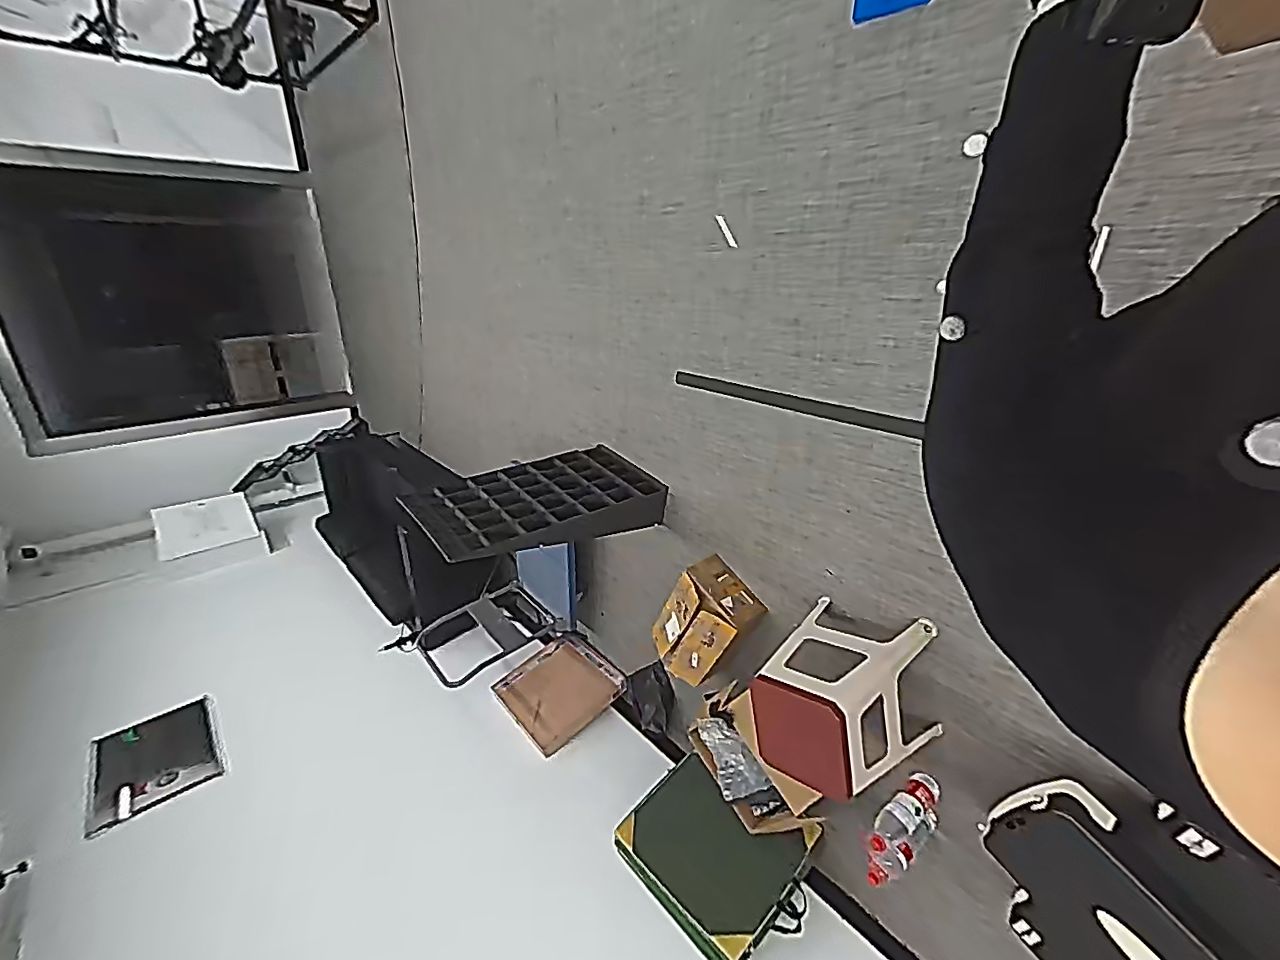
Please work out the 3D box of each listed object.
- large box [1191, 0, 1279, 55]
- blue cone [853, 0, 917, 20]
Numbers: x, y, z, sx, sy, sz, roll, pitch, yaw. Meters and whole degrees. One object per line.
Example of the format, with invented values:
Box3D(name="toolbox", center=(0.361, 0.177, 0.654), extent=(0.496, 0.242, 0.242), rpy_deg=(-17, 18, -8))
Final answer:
Box3D(name="large box", center=(0.539, -0.455, 0.223), extent=(0.408, 0.320, 0.320), rpy_deg=(15, 120, 45))
Box3D(name="blue cone", center=(0.467, -1.166, 1.157), extent=(0.192, 0.380, 0.193), rpy_deg=(28, 125, 43))
